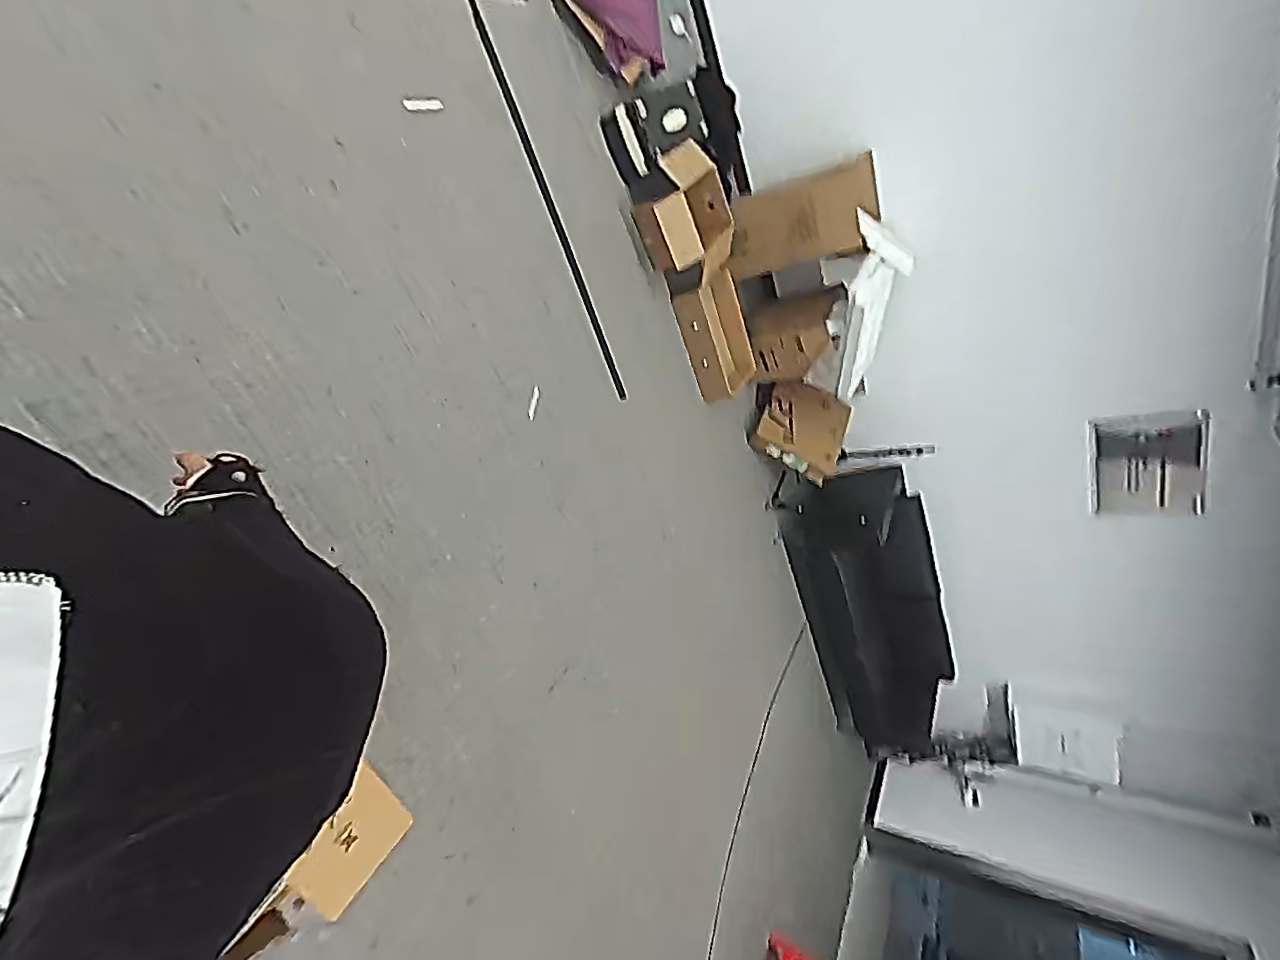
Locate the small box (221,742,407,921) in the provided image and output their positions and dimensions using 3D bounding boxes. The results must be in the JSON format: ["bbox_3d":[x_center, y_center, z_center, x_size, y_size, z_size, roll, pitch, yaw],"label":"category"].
[{"bbox_3d":[-0.532,0.562,0.890,0.168,0.176,0.179,-48,122,-46],"label":"small box"}]
